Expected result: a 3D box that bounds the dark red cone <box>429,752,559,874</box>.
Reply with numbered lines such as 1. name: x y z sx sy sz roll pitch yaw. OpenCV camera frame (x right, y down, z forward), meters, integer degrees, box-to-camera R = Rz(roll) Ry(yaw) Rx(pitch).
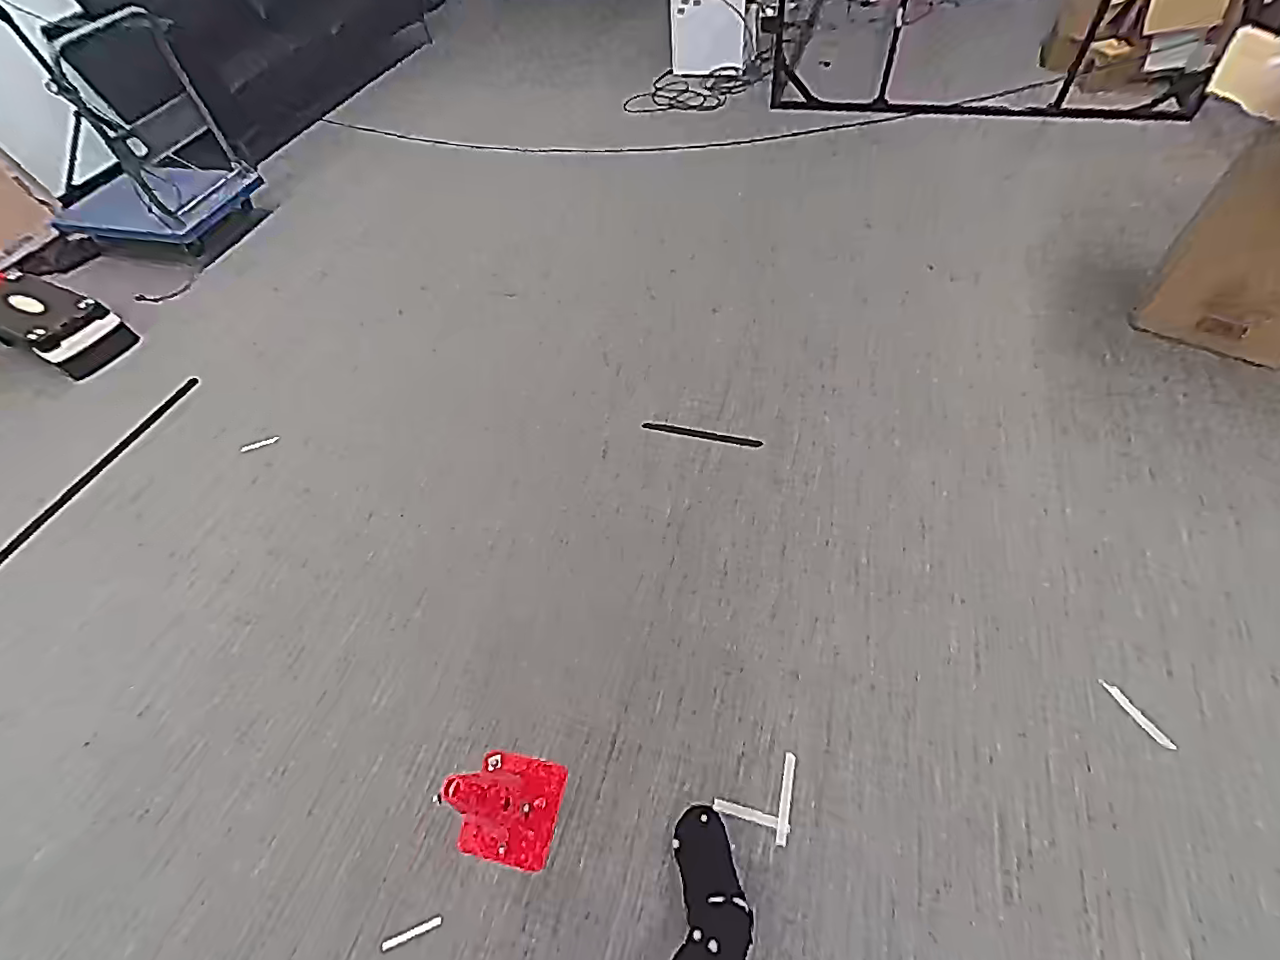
1. dark red cone: -0.297 0.602 1.005 0.202 0.394 0.201 6 56 11
